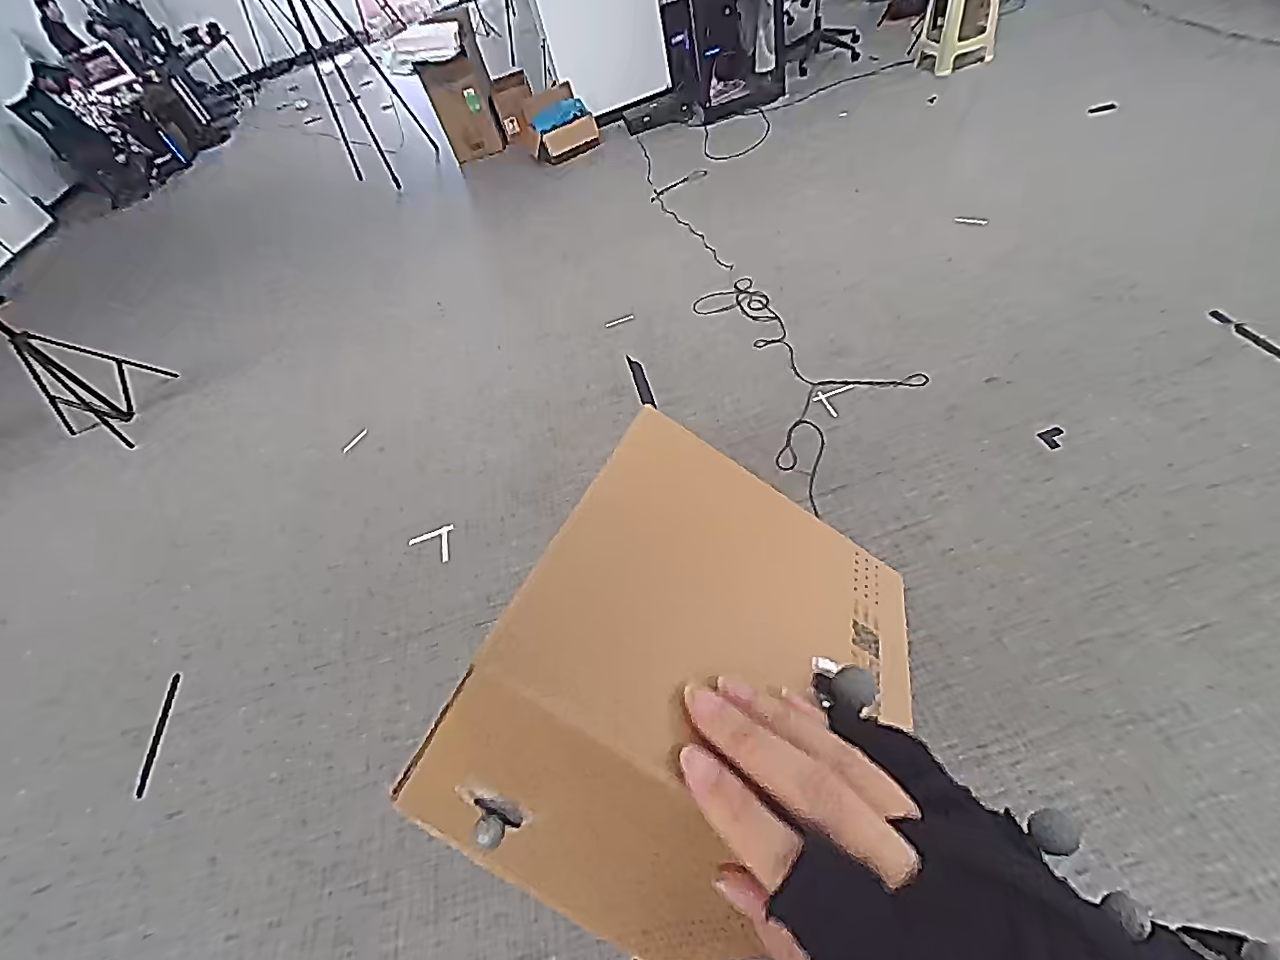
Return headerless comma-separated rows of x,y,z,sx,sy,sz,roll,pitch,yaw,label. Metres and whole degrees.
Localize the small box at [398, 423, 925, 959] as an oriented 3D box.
0.010,0.112,0.278,0.176,0.179,0.168,32,41,-4,small box
